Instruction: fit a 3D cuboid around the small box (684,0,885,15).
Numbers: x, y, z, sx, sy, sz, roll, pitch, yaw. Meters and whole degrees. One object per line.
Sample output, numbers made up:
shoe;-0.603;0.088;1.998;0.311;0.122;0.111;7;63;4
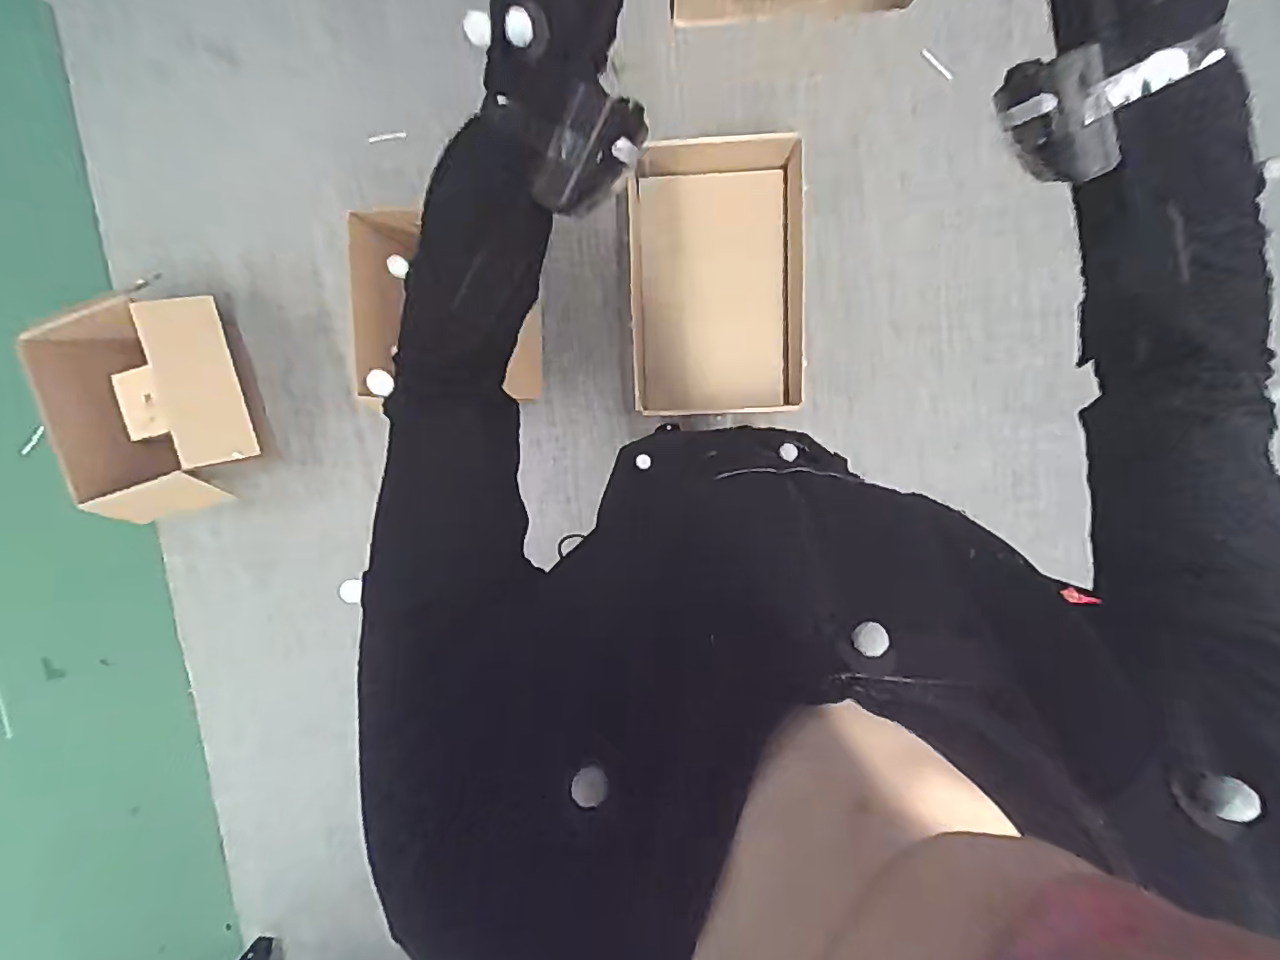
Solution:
small box;0.095;-0.402;0.283;0.168;0.176;0.179;-2;96;3
